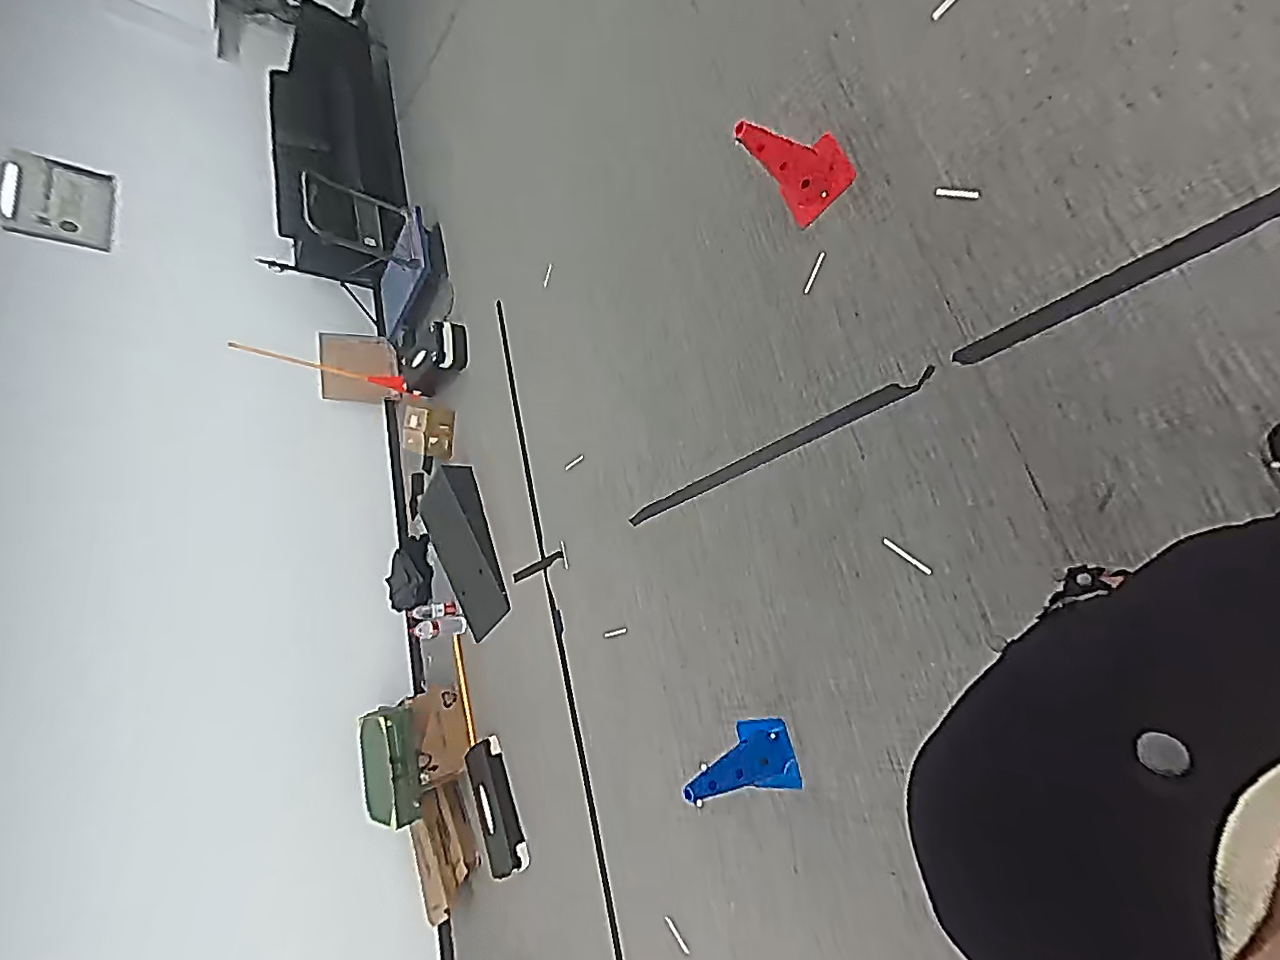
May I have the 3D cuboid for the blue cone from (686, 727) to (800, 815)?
[{"bbox_3d":[0.271,0.863,1.562,0.193,0.380,0.192,-30,68,45],"label":"blue cone"}]

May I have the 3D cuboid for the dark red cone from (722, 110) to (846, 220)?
[{"bbox_3d":[0.361,-0.892,1.466,0.202,0.394,0.201,-40,61,41],"label":"dark red cone"}]
